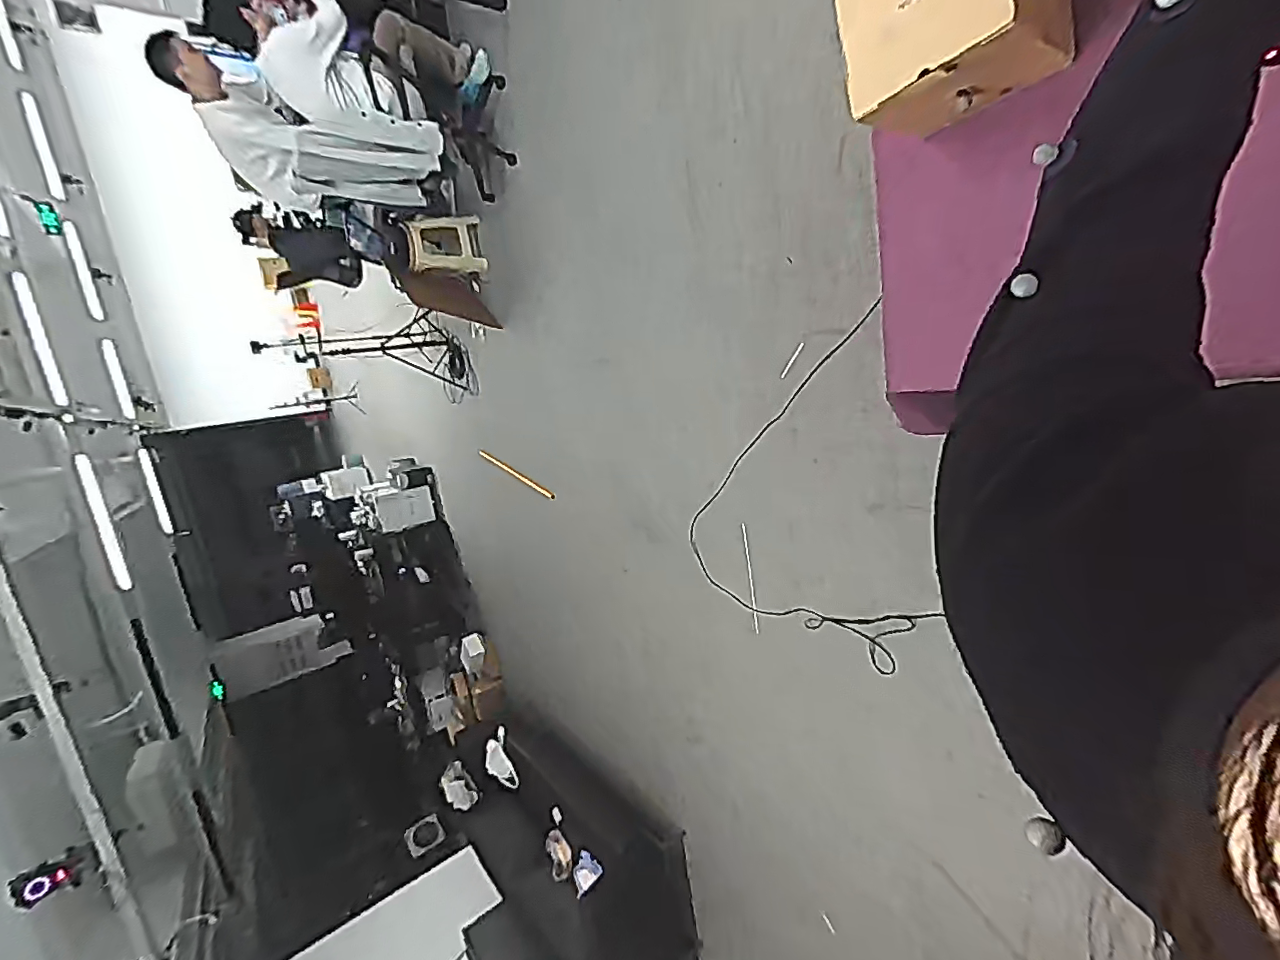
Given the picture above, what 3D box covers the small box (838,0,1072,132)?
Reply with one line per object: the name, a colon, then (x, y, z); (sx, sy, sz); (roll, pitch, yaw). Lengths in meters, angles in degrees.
small box: (0.344, -0.511, 0.592); (0.168, 0.176, 0.179); (0, 103, 54)
